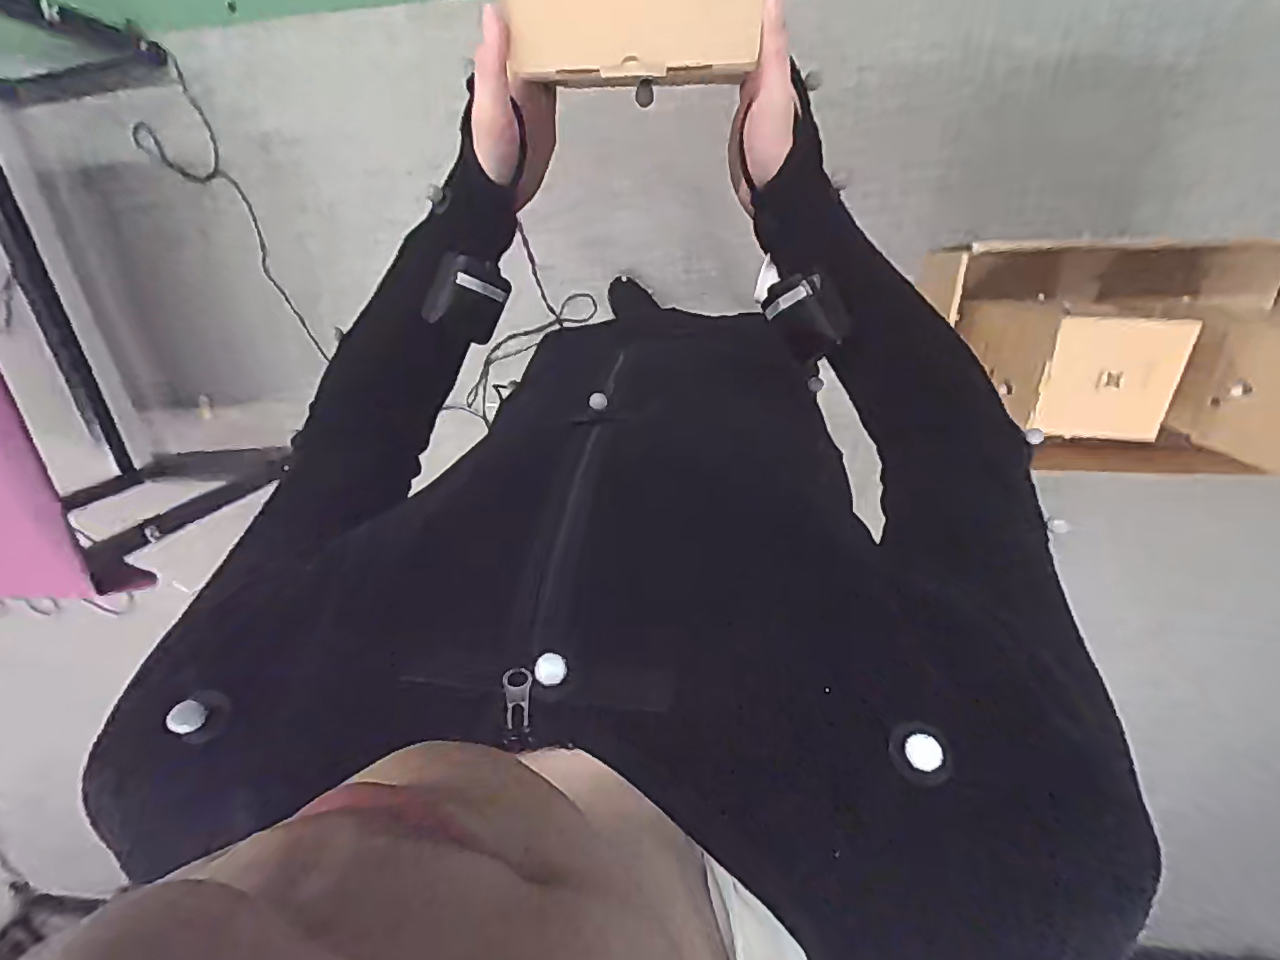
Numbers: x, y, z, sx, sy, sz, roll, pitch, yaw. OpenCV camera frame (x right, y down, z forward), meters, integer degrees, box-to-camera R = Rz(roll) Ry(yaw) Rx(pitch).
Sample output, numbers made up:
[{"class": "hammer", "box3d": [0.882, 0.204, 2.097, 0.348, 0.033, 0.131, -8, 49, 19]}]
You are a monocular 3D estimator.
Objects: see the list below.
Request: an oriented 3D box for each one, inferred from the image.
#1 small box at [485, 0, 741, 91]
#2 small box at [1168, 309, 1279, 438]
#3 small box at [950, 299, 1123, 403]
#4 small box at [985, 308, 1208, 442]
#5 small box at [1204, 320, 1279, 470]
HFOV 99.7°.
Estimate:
[{"class": "small box", "box3d": [-0.010, -0.382, 0.376, 0.168, 0.176, 0.179, 1, 125, 6]}, {"class": "small box", "box3d": [0.898, -0.159, 0.792, 0.179, 0.176, 0.168, 3, 112, 9]}, {"class": "small box", "box3d": [0.687, -0.230, 0.965, 0.179, 0.176, 0.168, 2, 112, 5]}, {"class": "small box", "box3d": [0.664, -0.166, 0.817, 0.179, 0.176, 0.168, 4, 113, 5]}, {"class": "small box", "box3d": [0.858, -0.099, 0.643, 0.179, 0.176, 0.168, 2, 112, 10]}]
